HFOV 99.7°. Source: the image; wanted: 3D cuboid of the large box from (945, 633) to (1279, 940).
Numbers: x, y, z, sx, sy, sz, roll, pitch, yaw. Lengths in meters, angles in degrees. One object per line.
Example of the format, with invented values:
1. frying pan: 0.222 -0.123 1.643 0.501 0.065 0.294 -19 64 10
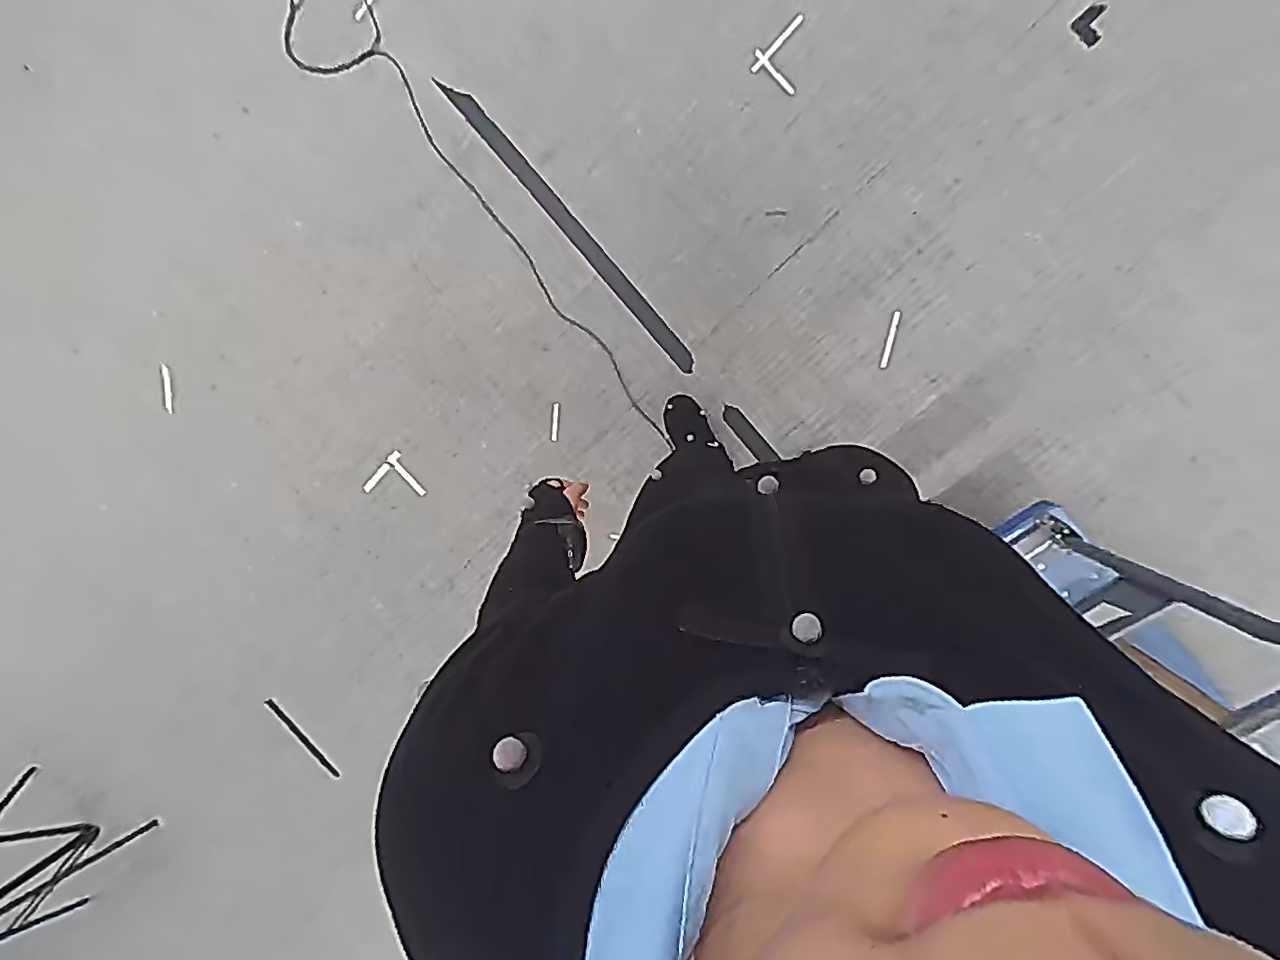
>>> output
1. large box: 0.936 0.591 1.097 0.408 0.320 0.320 -38 91 13
